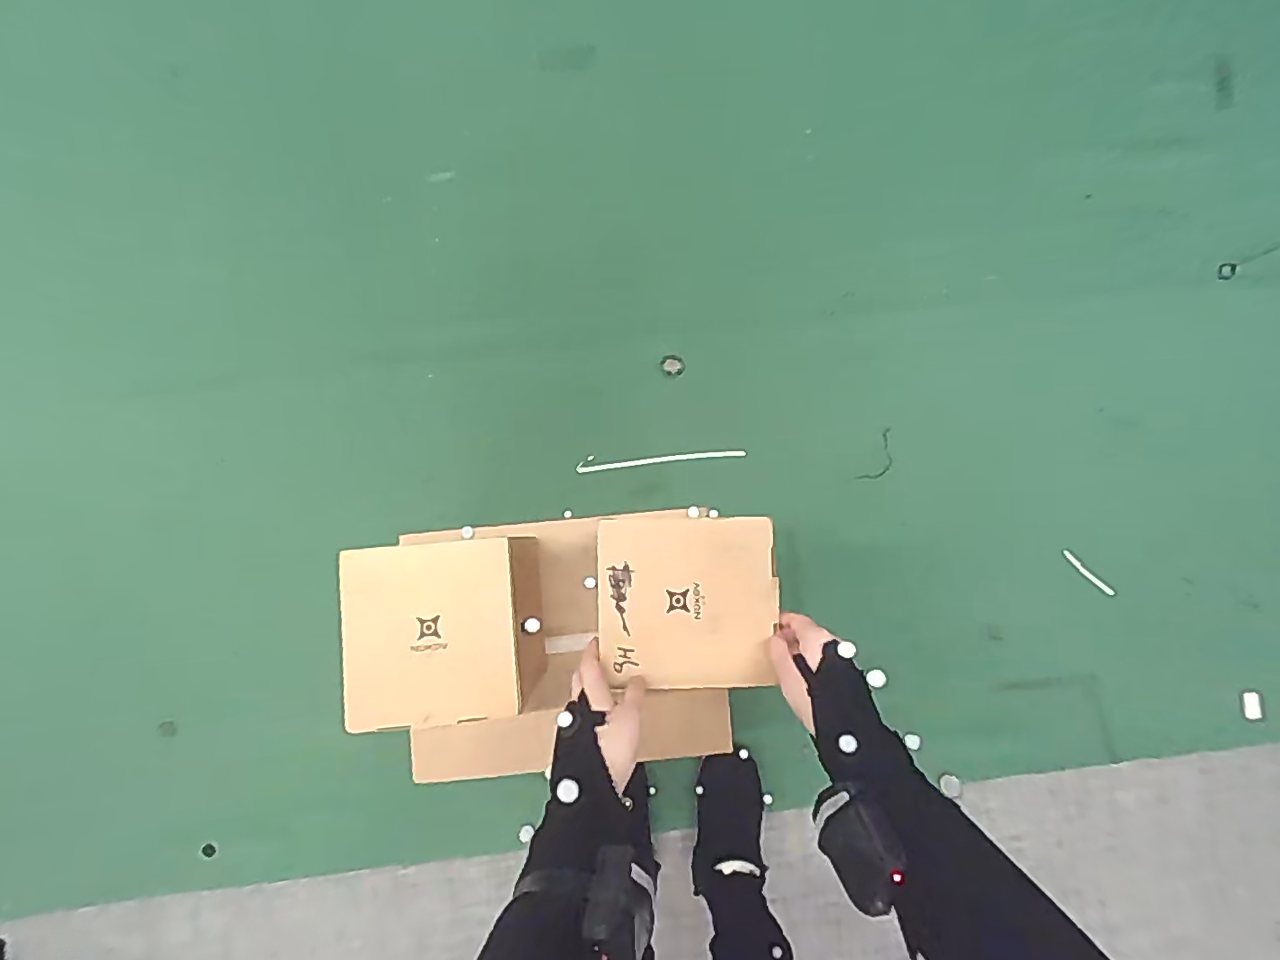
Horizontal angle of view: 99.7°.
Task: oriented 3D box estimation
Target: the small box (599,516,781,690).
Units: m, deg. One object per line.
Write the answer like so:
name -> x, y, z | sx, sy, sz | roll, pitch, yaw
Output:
small box -> 0.046, 0.124, 0.598 | 0.179, 0.176, 0.168 | -1, 84, -1

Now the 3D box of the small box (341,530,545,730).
small box -> -0.202, 0.151, 0.594 | 0.168, 0.176, 0.179 | -5, 84, -1

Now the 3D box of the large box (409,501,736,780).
large box -> -0.095, 0.214, 0.834 | 0.408, 0.320, 0.320 | -5, 86, -2
